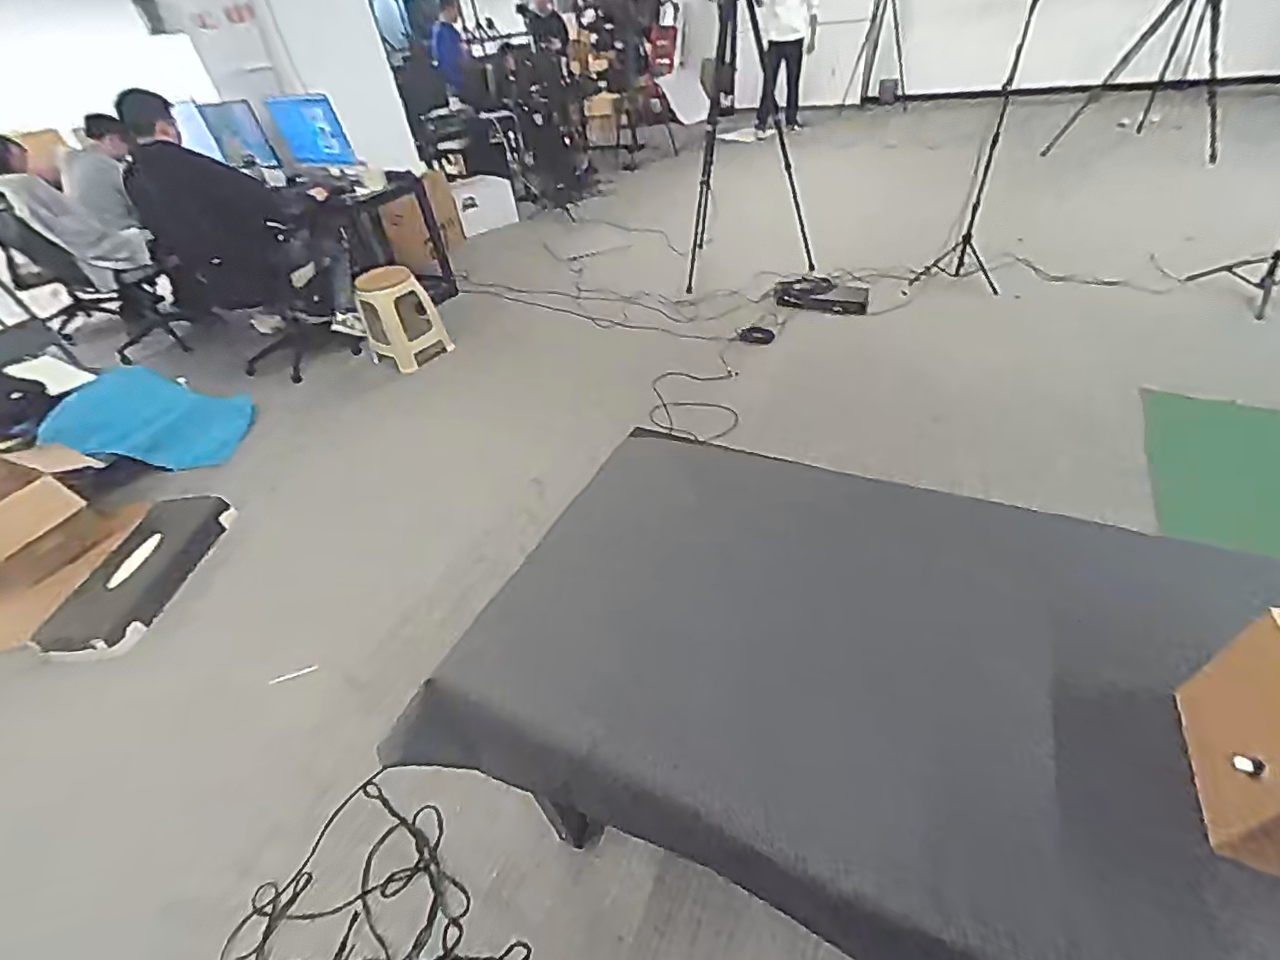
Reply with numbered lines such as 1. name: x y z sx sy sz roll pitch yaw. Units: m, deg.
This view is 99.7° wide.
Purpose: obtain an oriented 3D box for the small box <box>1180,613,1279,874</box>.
1. small box: 0.637 0.256 0.474 0.168 0.176 0.179 14 44 22
